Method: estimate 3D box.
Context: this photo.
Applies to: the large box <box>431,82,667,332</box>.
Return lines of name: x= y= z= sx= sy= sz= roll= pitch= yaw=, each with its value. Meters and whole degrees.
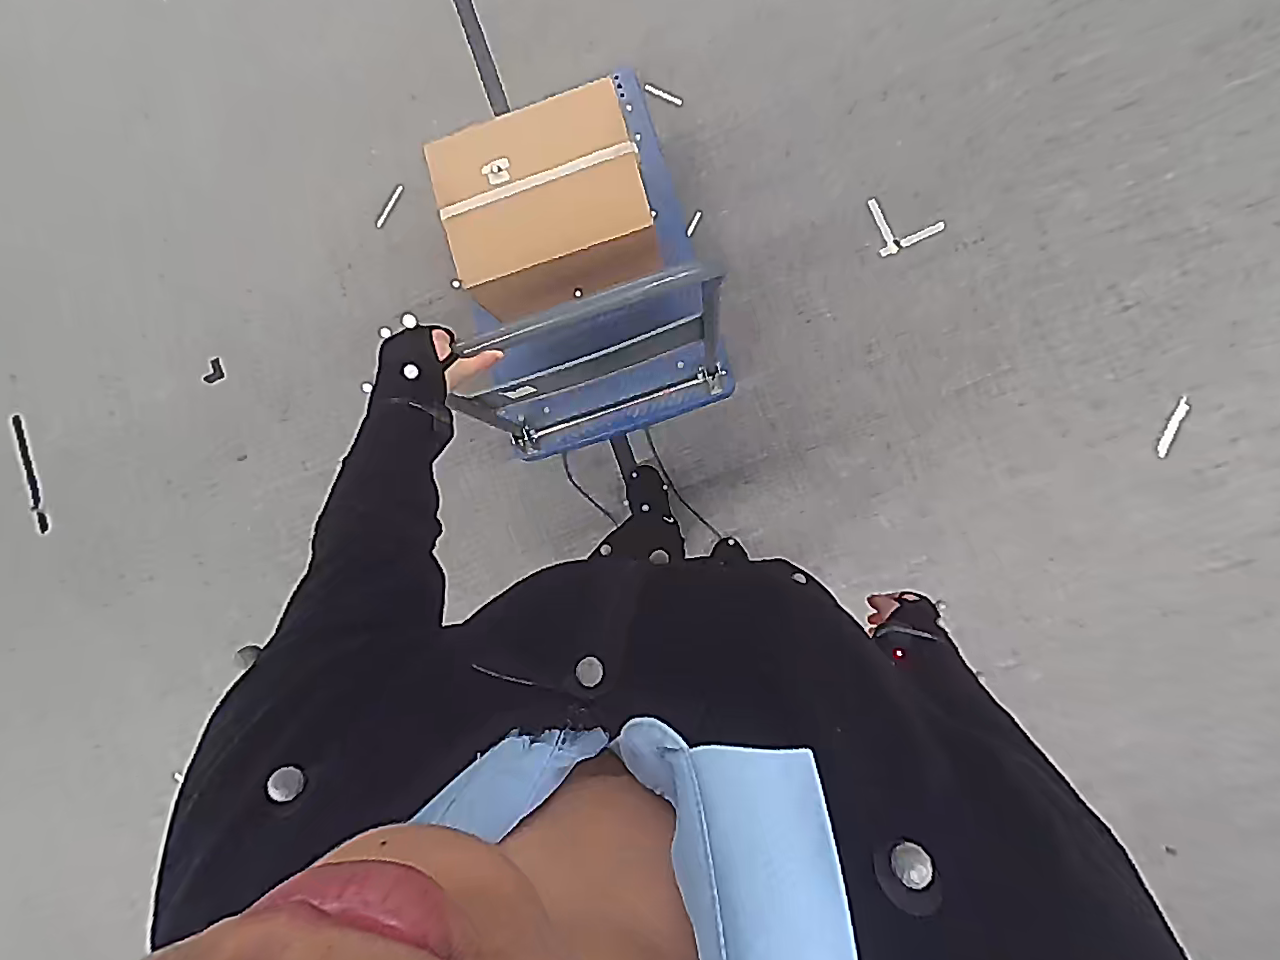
large box: x=-0.181 y=-0.579 z=1.224 sx=0.408 sy=0.320 sz=0.320 roll=-16 pitch=85 yaw=8
